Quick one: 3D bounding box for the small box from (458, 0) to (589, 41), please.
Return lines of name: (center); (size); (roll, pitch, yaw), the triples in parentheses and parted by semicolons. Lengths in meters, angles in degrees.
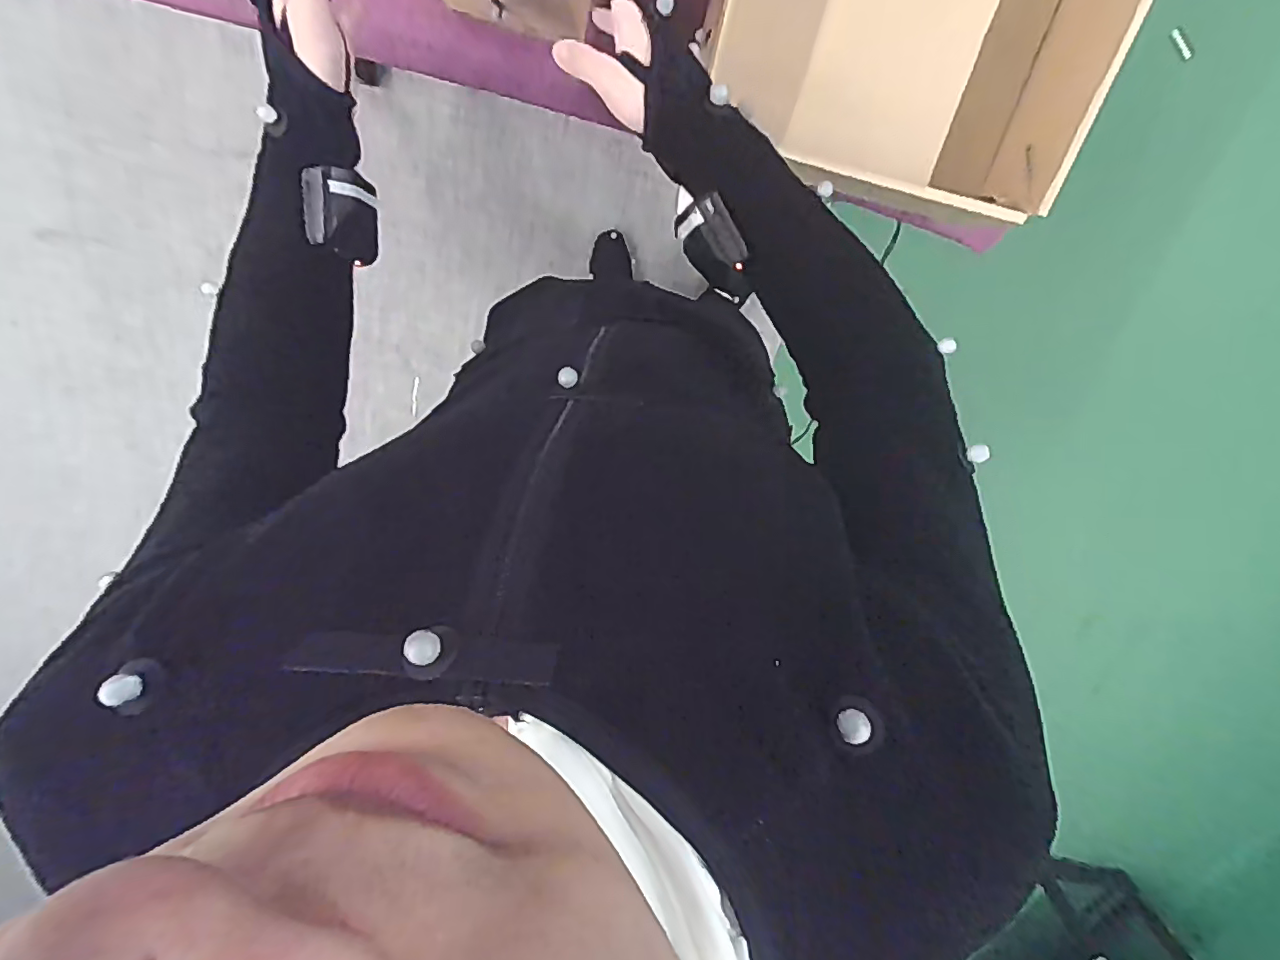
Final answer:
small box: (-0.128, -0.592, 0.550); (0.168, 0.176, 0.179); (12, 114, -8)
